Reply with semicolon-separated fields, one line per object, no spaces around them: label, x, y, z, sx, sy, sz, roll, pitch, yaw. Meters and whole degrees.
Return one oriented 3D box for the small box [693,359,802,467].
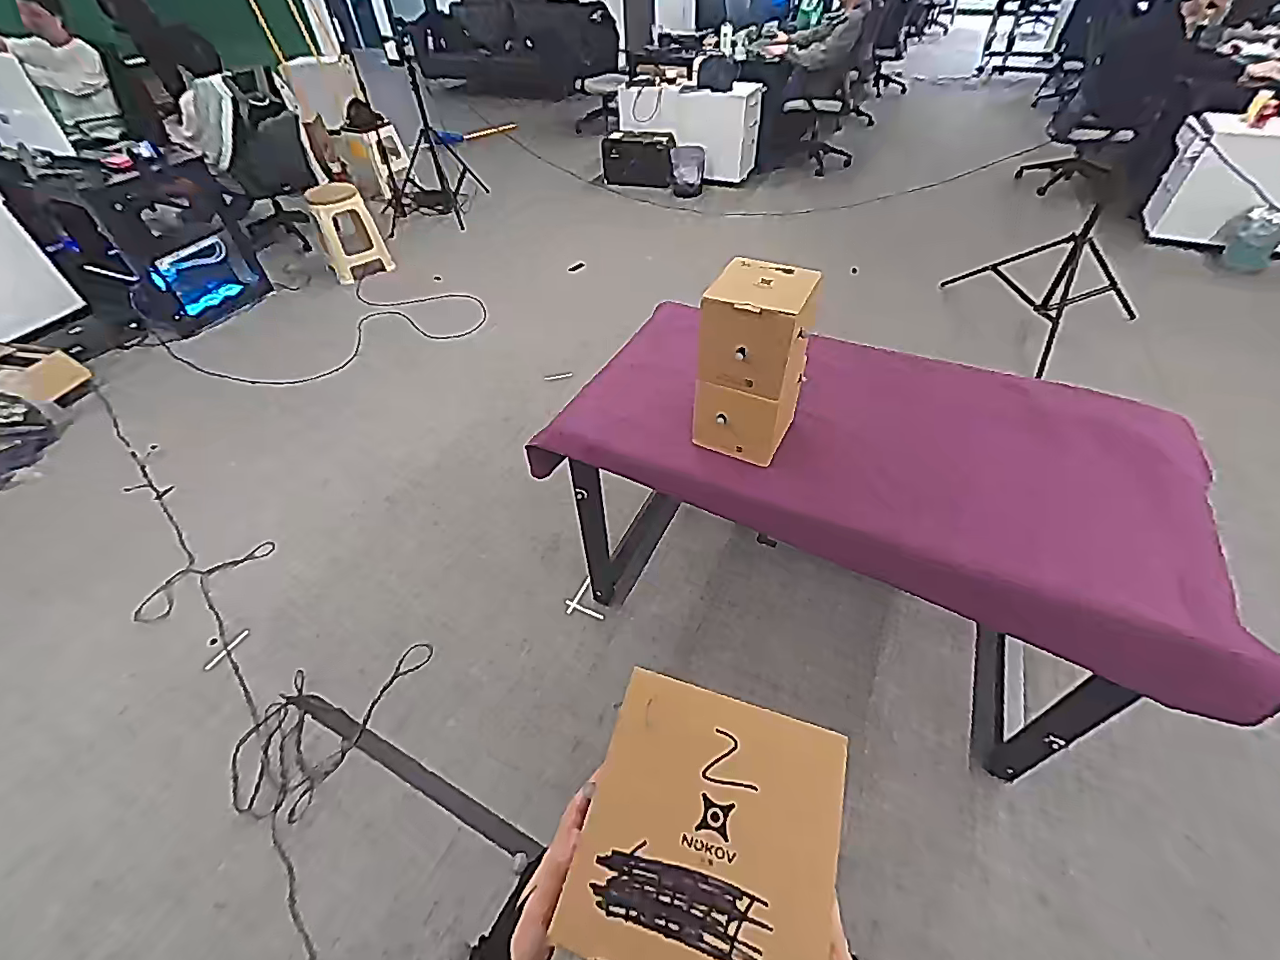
small box;0.216;-0.153;1.108;0.168;0.176;0.179;20;49;20

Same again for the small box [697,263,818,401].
small box;0.212;-0.271;0.994;0.168;0.176;0.179;19;49;19
